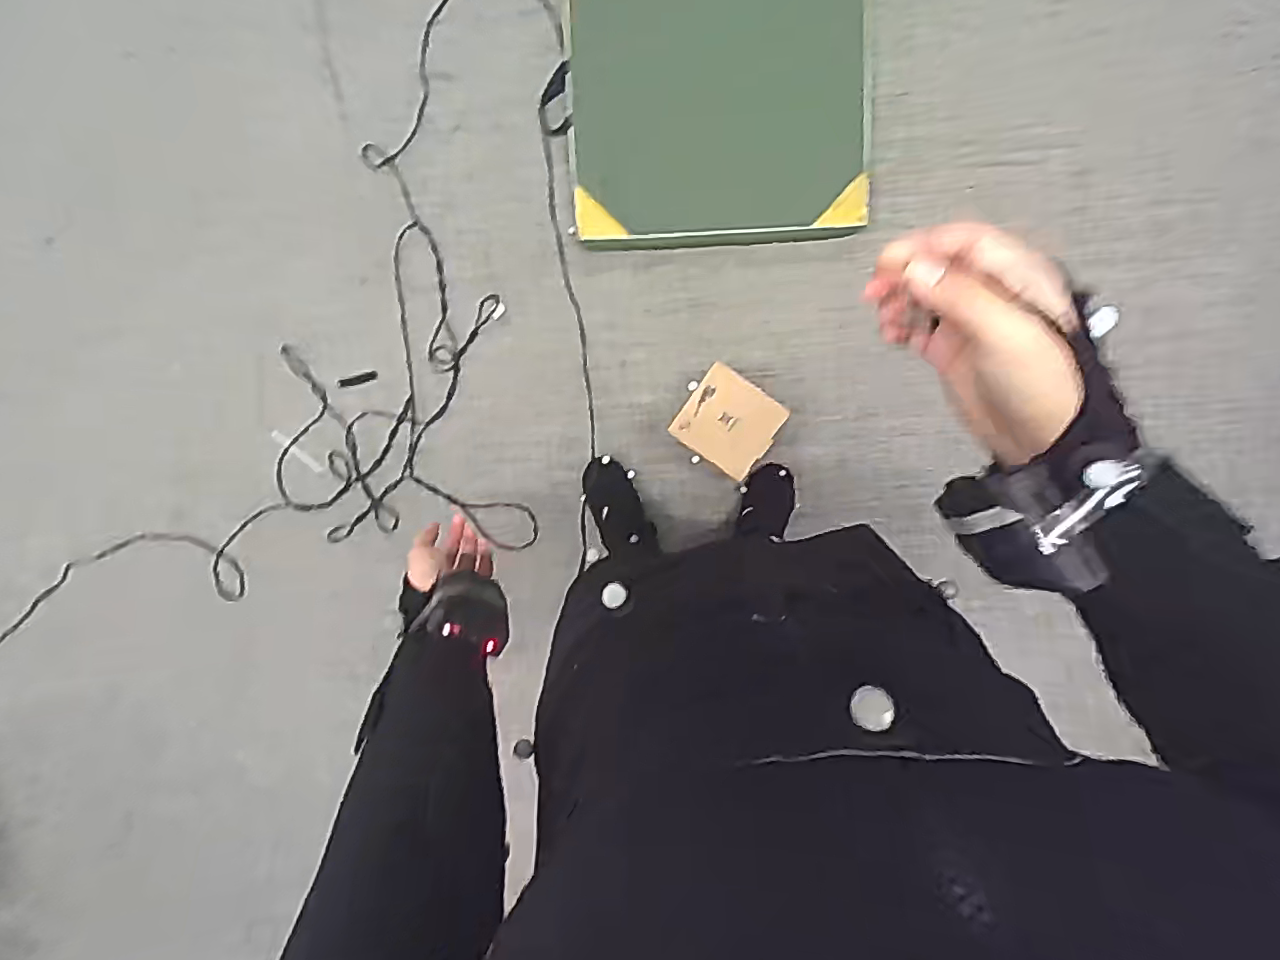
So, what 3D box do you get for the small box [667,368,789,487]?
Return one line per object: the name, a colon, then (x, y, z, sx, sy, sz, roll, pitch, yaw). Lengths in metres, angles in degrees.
small box: (0.172, -0.107, 1.111, 0.179, 0.176, 0.168, 35, 94, -1)
